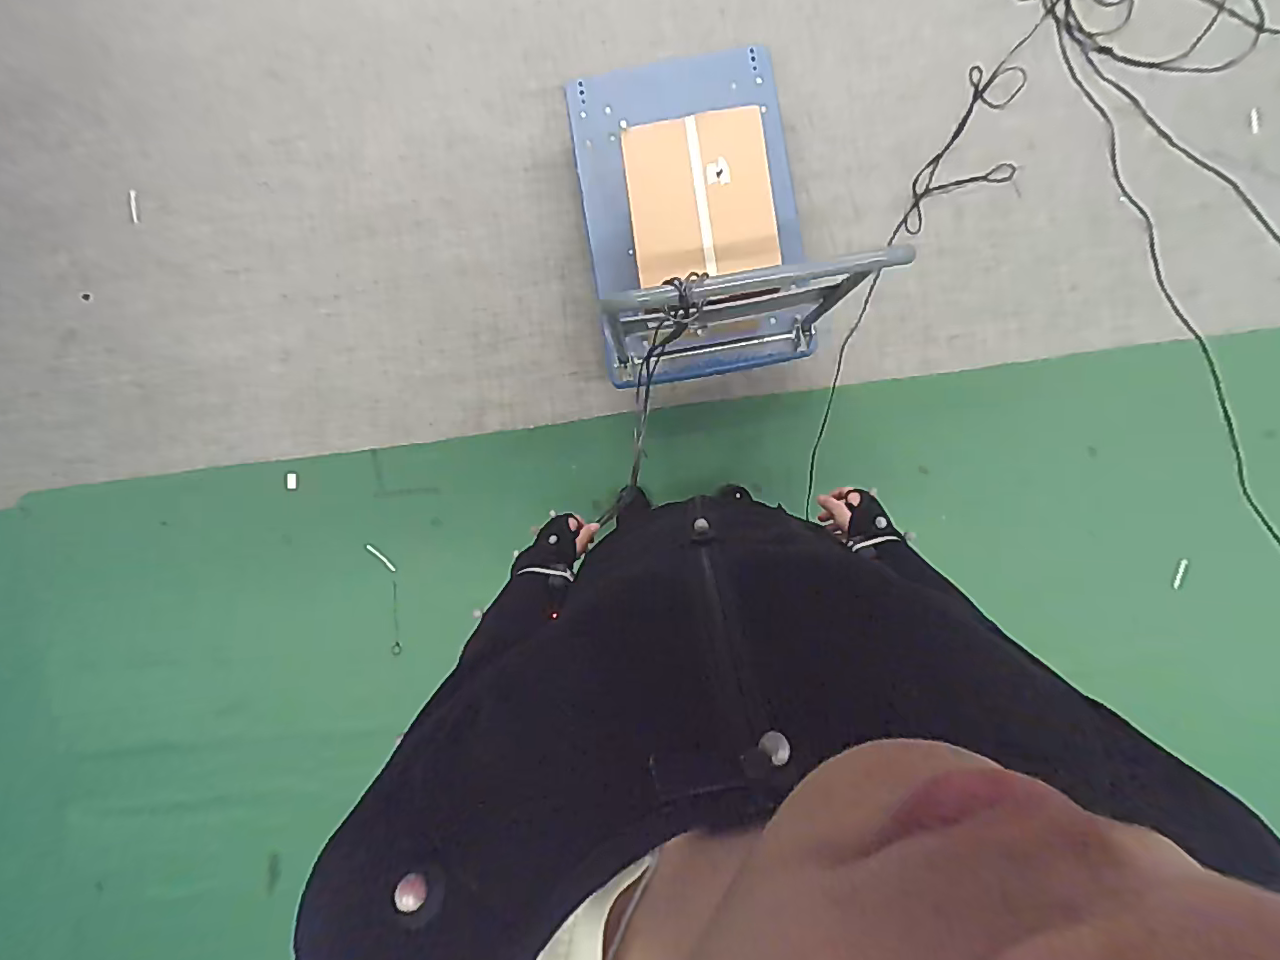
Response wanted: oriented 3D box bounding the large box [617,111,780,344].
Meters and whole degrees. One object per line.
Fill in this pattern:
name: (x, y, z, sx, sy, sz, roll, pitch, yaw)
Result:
large box: (0.136, -0.595, 1.342, 0.320, 0.320, 0.408, -8, 88, 2)
